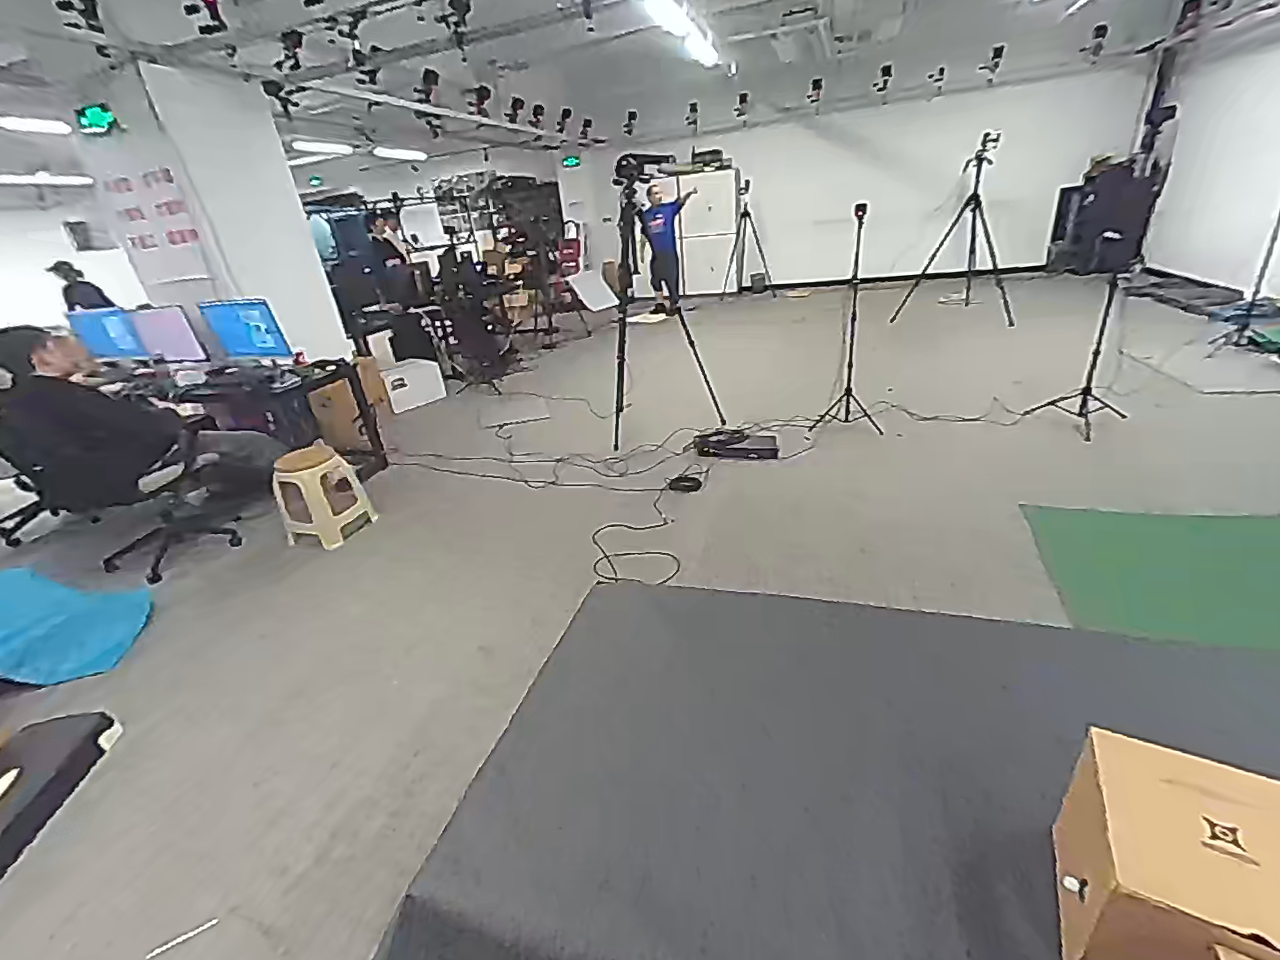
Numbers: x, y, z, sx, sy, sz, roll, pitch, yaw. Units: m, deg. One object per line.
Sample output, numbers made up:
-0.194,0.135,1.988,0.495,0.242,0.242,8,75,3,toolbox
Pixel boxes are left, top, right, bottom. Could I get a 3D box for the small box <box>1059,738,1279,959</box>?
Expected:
0.493,0.379,0.474,0.168,0.176,0.179,10,27,29,small box
